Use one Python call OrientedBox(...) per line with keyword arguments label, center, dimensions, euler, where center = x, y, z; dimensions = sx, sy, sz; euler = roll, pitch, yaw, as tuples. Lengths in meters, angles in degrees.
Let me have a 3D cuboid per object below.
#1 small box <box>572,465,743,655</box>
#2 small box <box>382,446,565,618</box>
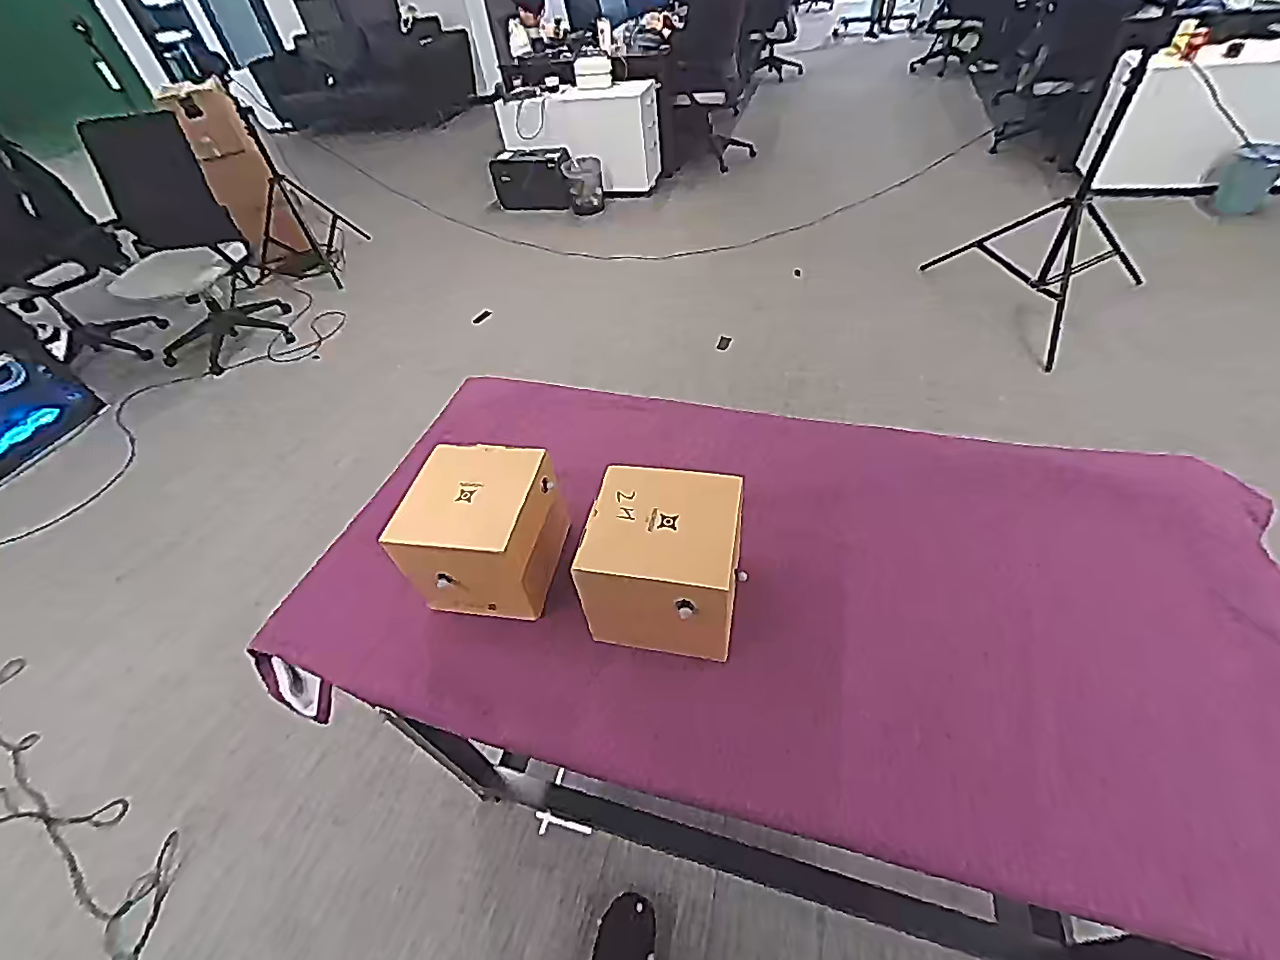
OrientedBox(label="small box", center=(0.033, 0.103, 0.686), dimensions=(0.179, 0.176, 0.168), euler=(5, 46, 12))
OrientedBox(label="small box", center=(-0.213, 0.073, 0.754), dimensions=(0.168, 0.176, 0.179), euler=(3, 46, 11))
